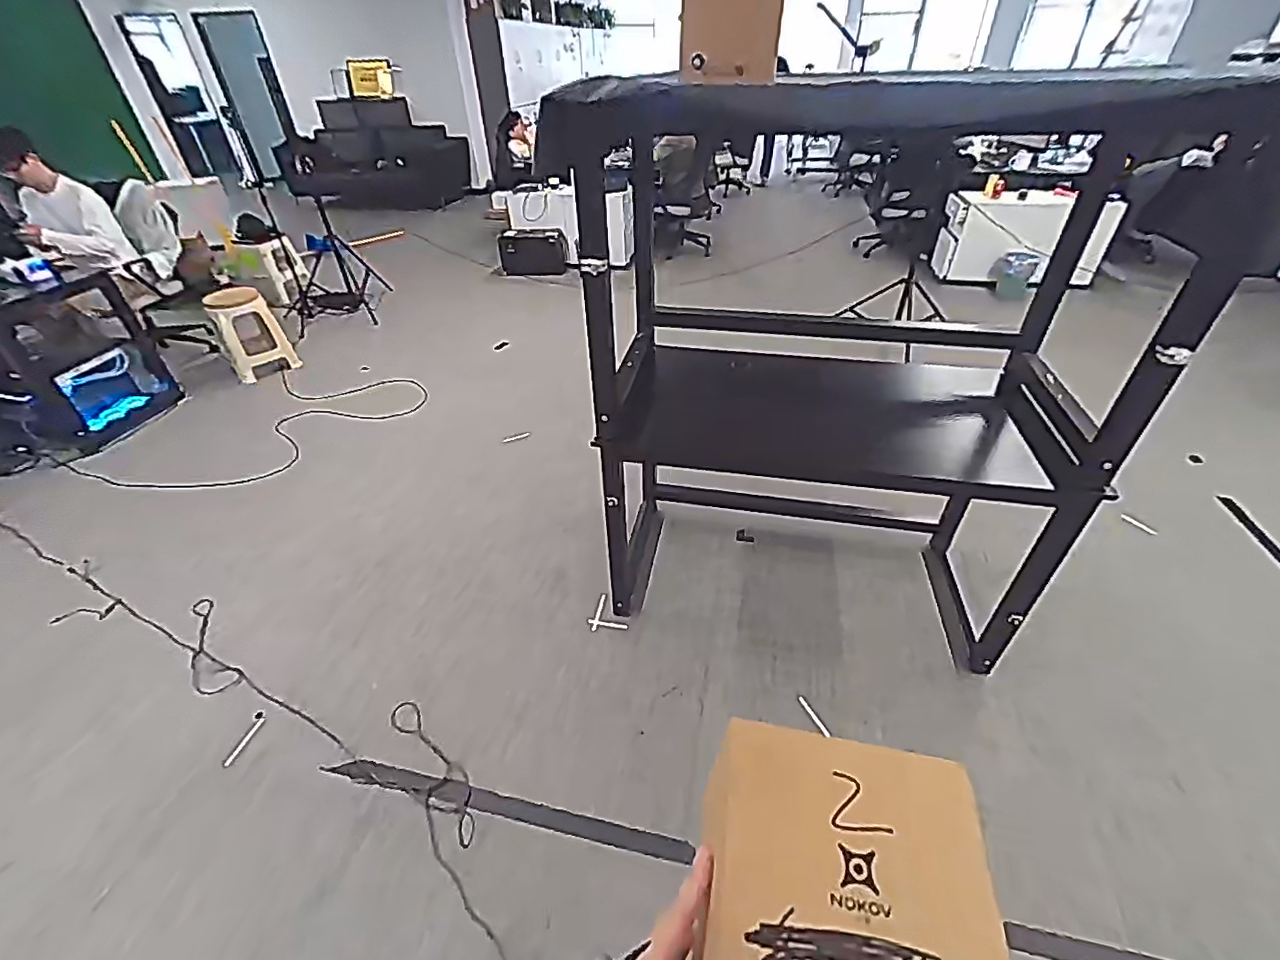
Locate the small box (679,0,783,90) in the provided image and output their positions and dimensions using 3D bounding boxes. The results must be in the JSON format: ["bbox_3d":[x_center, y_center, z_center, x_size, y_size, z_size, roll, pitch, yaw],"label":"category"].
[{"bbox_3d":[0.159,-0.787,0.940,0.168,0.176,0.179,6,37,7],"label":"small box"}]
